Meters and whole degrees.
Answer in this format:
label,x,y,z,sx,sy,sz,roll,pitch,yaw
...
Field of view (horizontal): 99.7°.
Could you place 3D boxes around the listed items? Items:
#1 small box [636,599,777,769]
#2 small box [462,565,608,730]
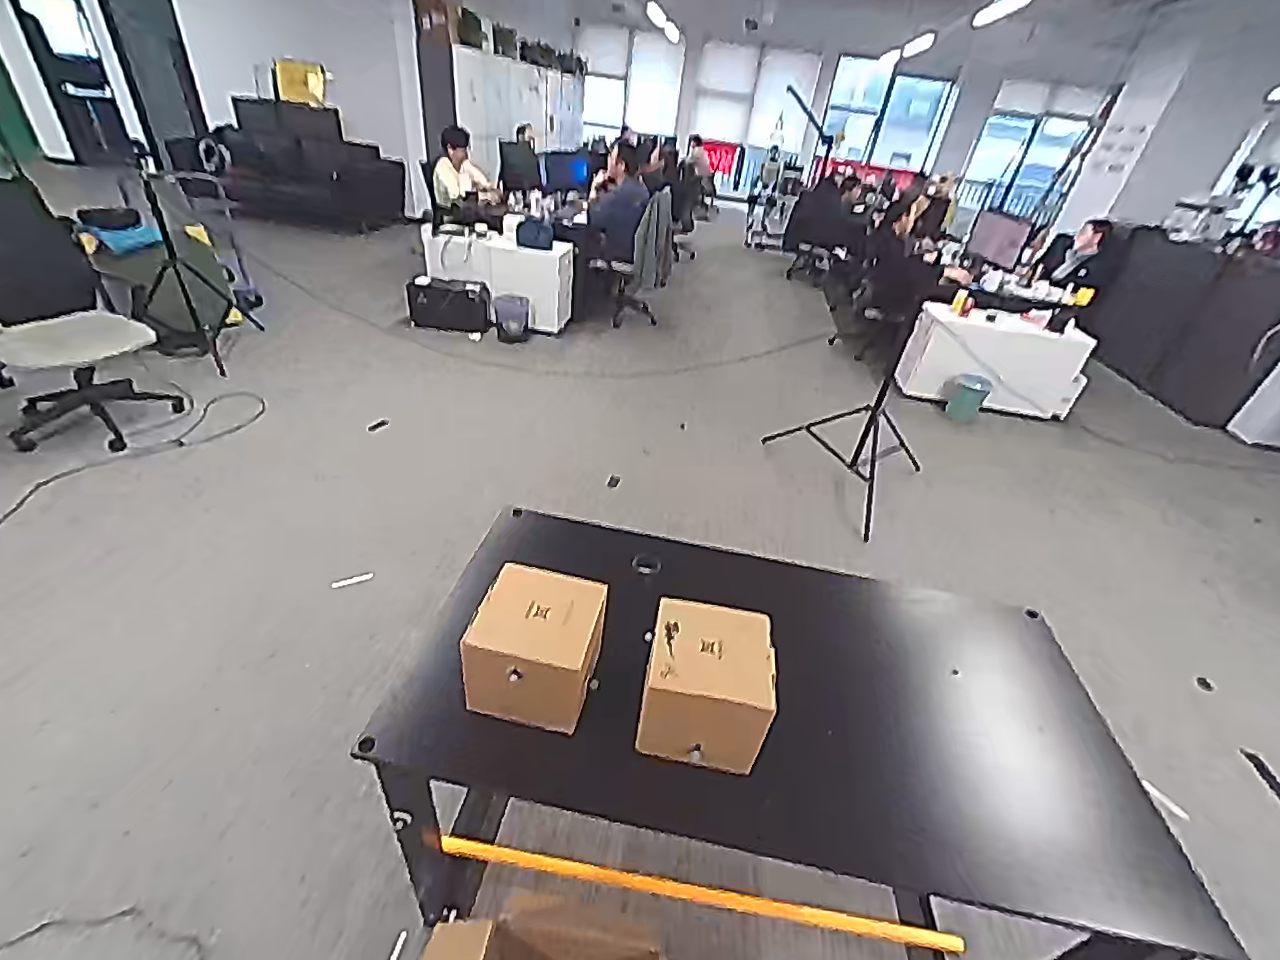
label,x,y,z,sx,sy,sz,roll,pitch,yaw
small box,0.099,0.314,0.830,0.179,0.176,0.168,10,34,3
small box,-0.159,0.264,0.851,0.179,0.176,0.168,12,35,4
